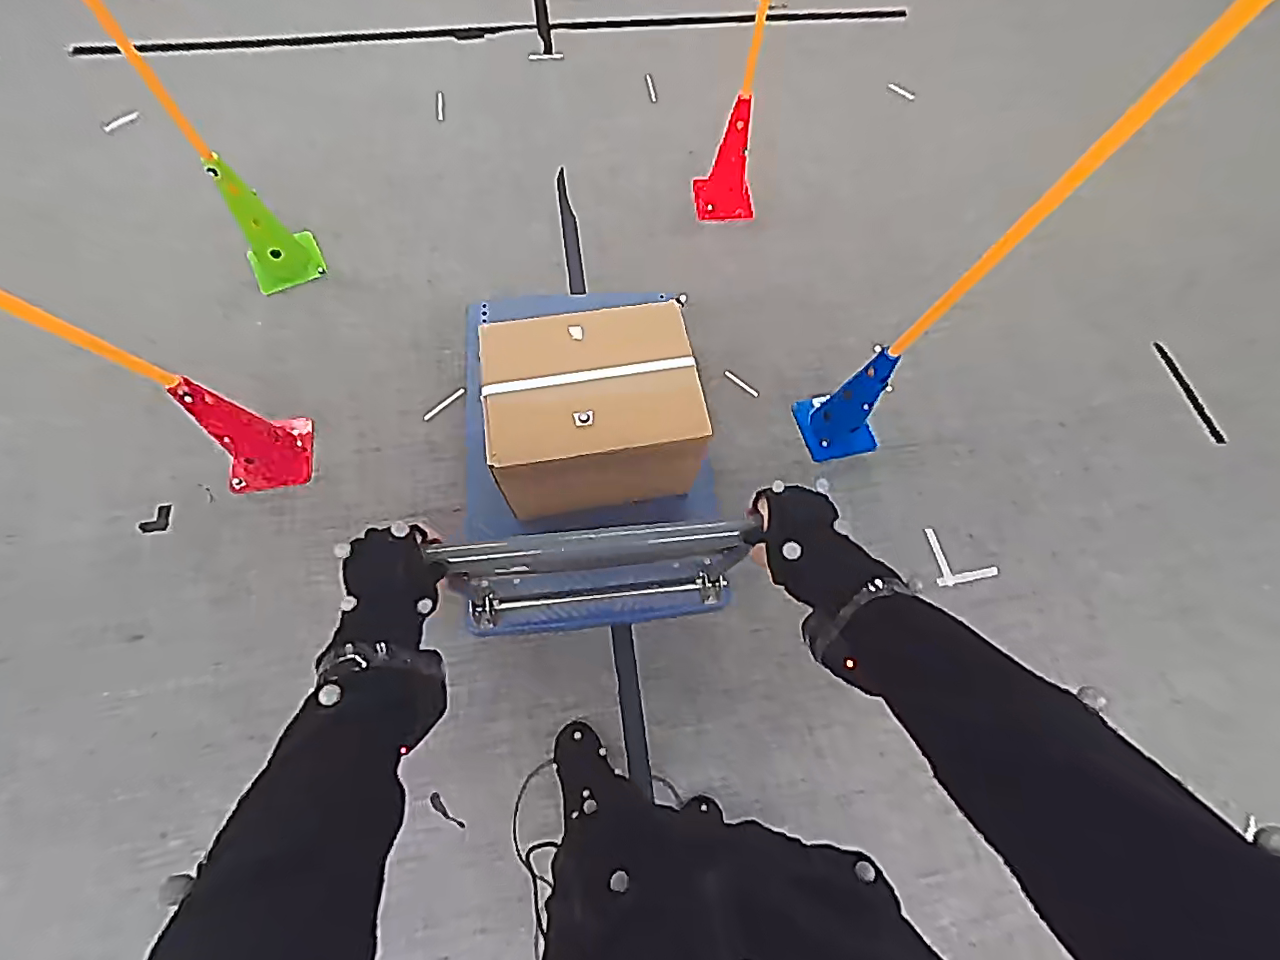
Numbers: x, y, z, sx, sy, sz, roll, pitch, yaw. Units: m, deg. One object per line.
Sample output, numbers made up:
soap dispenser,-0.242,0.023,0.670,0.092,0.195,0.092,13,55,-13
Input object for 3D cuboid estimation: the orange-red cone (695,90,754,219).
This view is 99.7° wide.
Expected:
orange-red cone,0.303,-1.044,1.716,0.199,0.360,0.198,-1,68,-5

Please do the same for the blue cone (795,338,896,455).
blue cone,0.568,-0.228,1.408,0.193,0.380,0.192,-11,67,-8
